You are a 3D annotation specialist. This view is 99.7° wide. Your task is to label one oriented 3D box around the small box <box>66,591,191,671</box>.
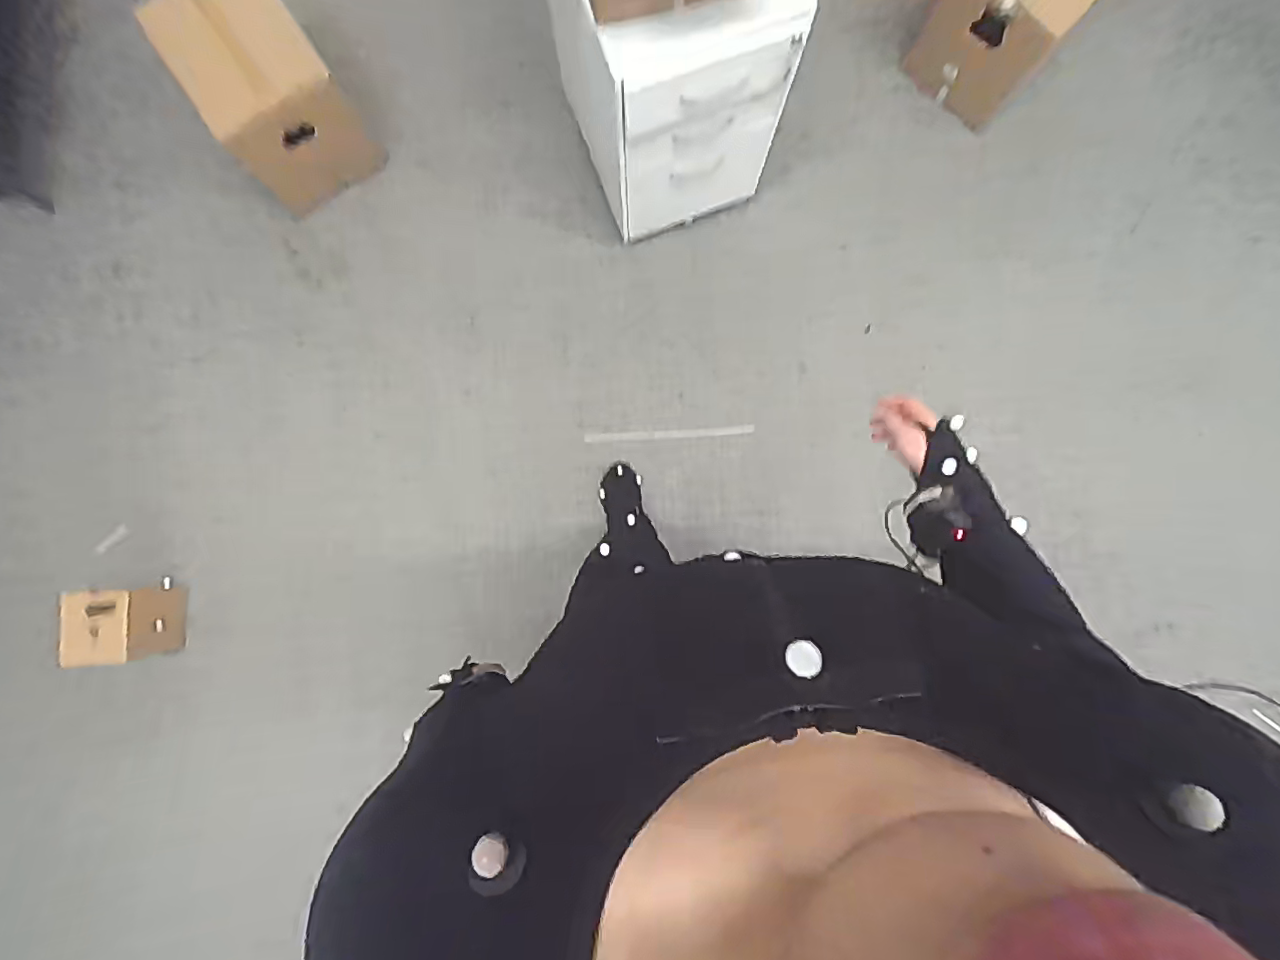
[{"bbox_3d":[-1.305,0.381,1.393,0.168,0.176,0.179,-2,85,0],"label":"small box"}]
